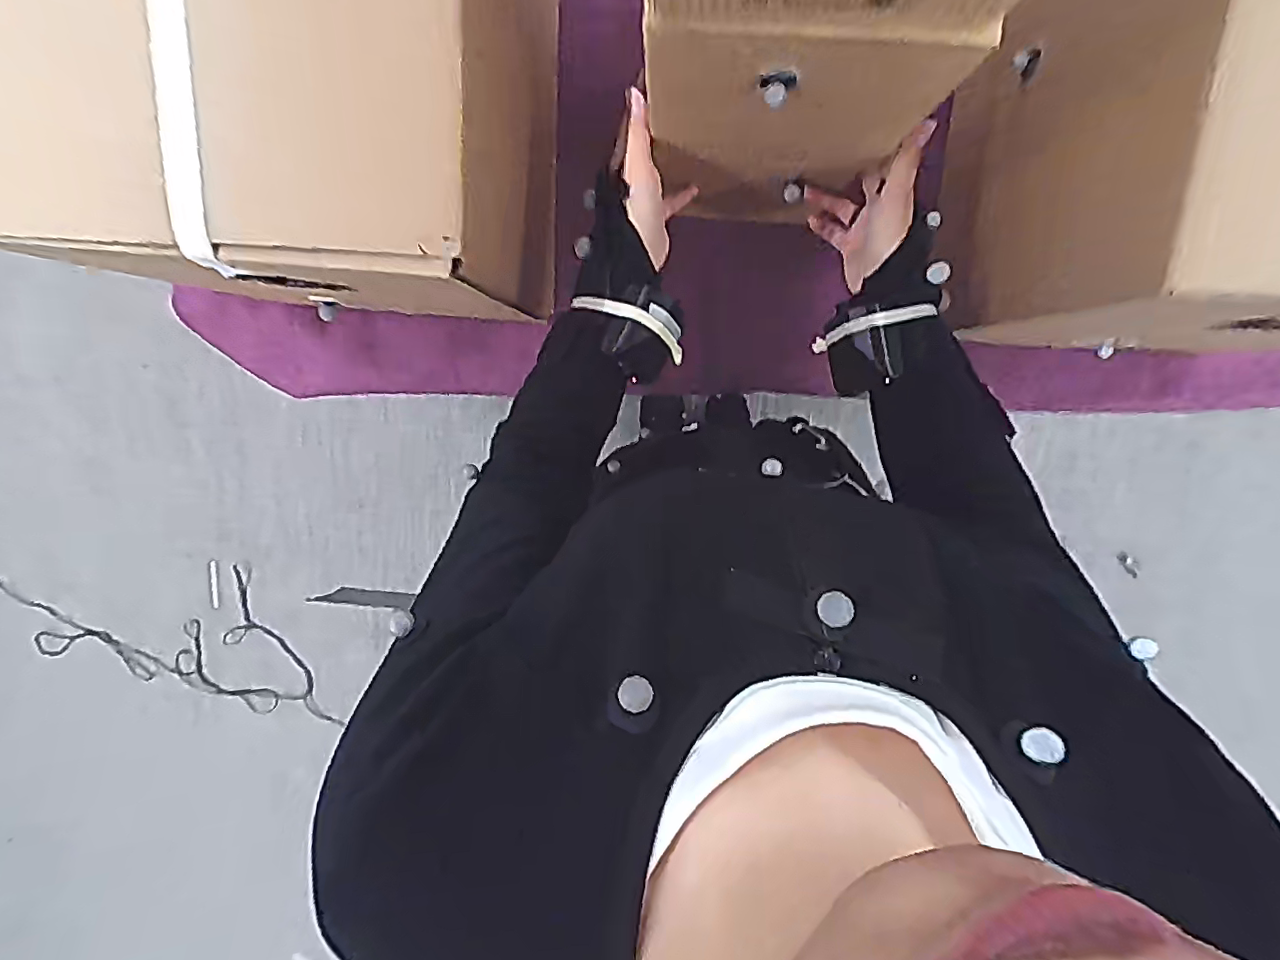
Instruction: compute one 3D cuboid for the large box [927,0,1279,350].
[{"bbox_3d":[0.458,-0.315,0.406,0.320,0.320,0.408,3,99,2],"label":"large box"}]
